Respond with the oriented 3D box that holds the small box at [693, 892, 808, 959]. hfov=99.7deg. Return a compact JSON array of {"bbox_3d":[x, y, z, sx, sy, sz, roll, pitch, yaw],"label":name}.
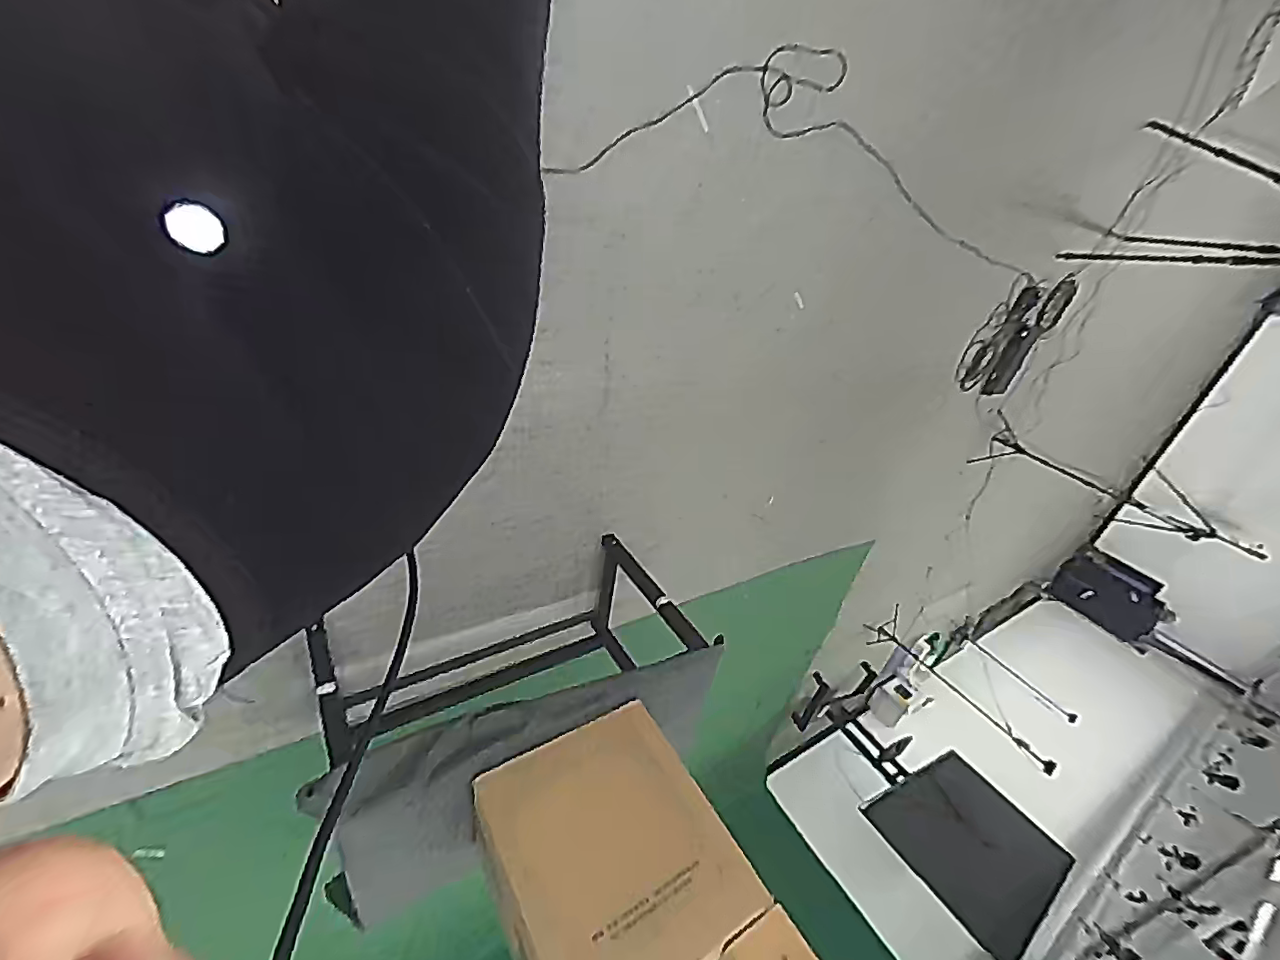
[{"bbox_3d":[0.257,1.138,1.284,0.179,0.176,0.168,-11,127,-36],"label":"small box"}]
